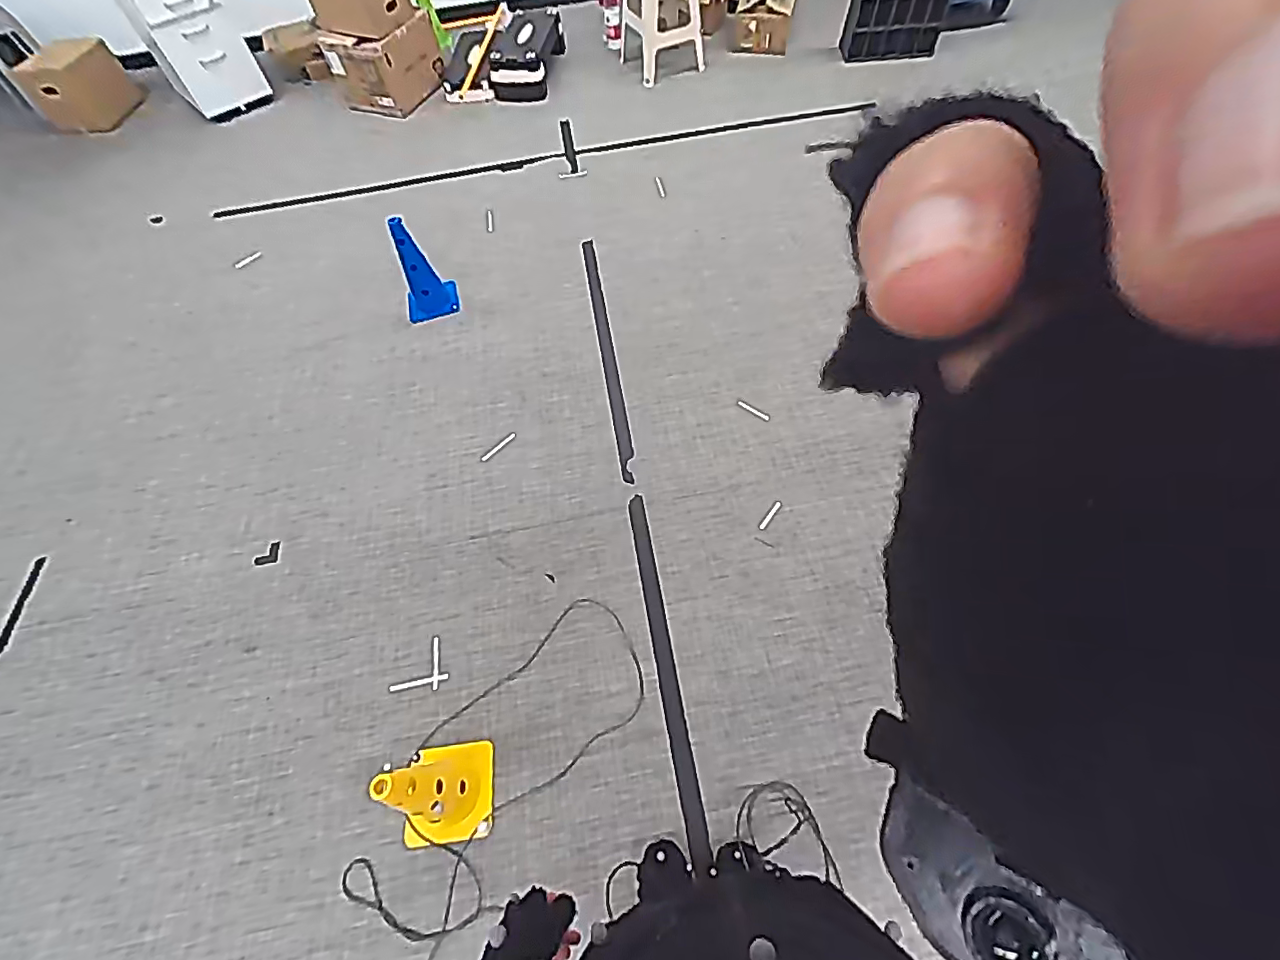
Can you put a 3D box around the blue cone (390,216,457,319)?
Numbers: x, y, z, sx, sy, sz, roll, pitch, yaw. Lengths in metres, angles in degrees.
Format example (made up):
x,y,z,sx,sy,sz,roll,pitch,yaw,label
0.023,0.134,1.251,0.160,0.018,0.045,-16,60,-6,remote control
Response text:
x,y,z,sx,sy,sz,roll,pitch,yaw,label
-0.850,-0.812,2.039,0.192,0.380,0.193,-15,59,-5,blue cone
